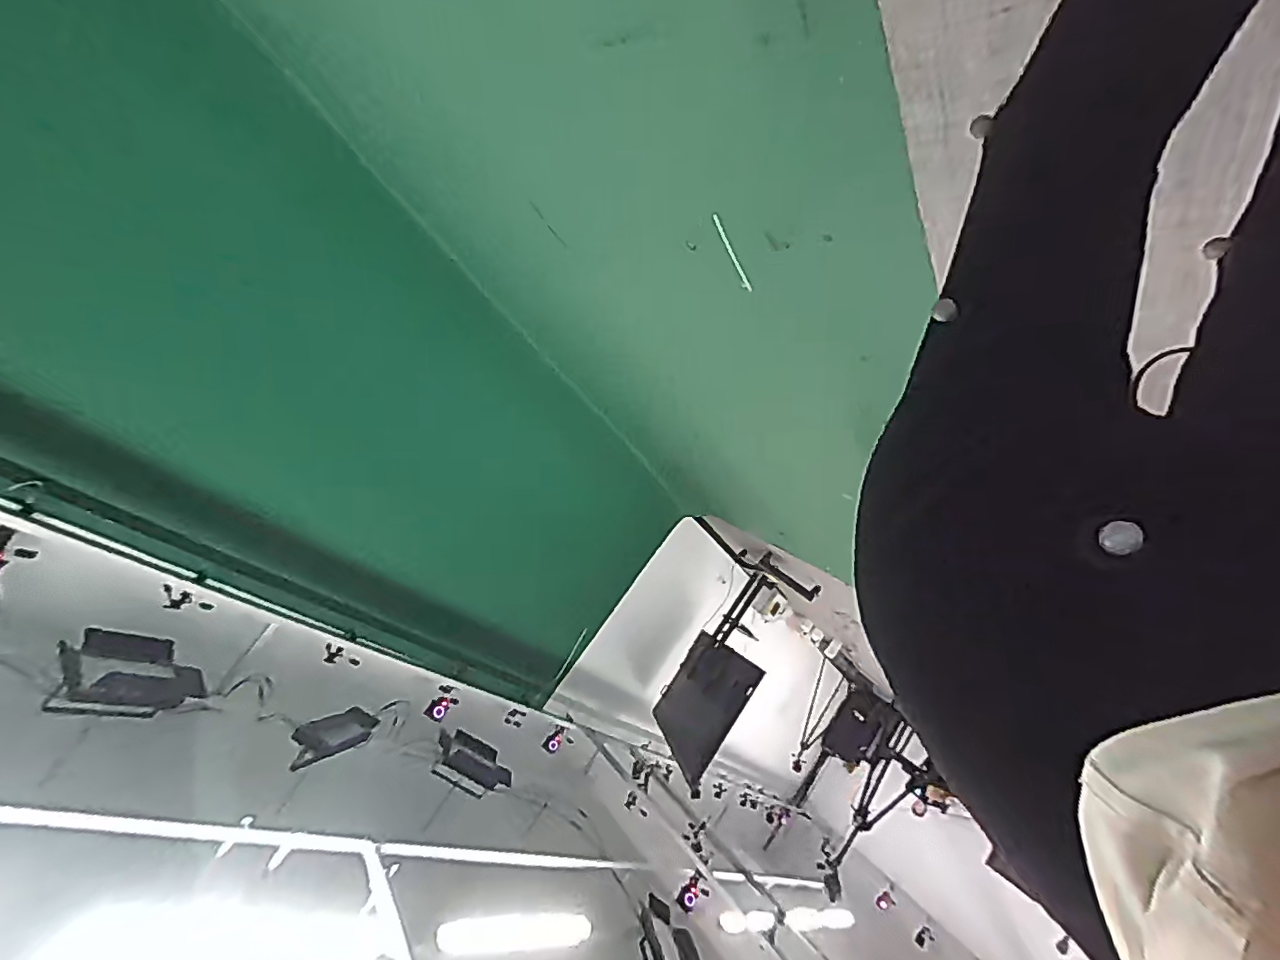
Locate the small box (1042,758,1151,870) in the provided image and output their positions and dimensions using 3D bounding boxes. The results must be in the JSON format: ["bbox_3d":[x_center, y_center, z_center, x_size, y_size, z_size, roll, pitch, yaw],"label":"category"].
[{"bbox_3d":[1.158,0.843,1.372,0.168,0.176,0.179,24,163,50],"label":"small box"}]

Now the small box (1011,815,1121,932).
[{"bbox_3d":[1.062,0.974,1.343,0.168,0.176,0.179,23,164,50],"label":"small box"}]
